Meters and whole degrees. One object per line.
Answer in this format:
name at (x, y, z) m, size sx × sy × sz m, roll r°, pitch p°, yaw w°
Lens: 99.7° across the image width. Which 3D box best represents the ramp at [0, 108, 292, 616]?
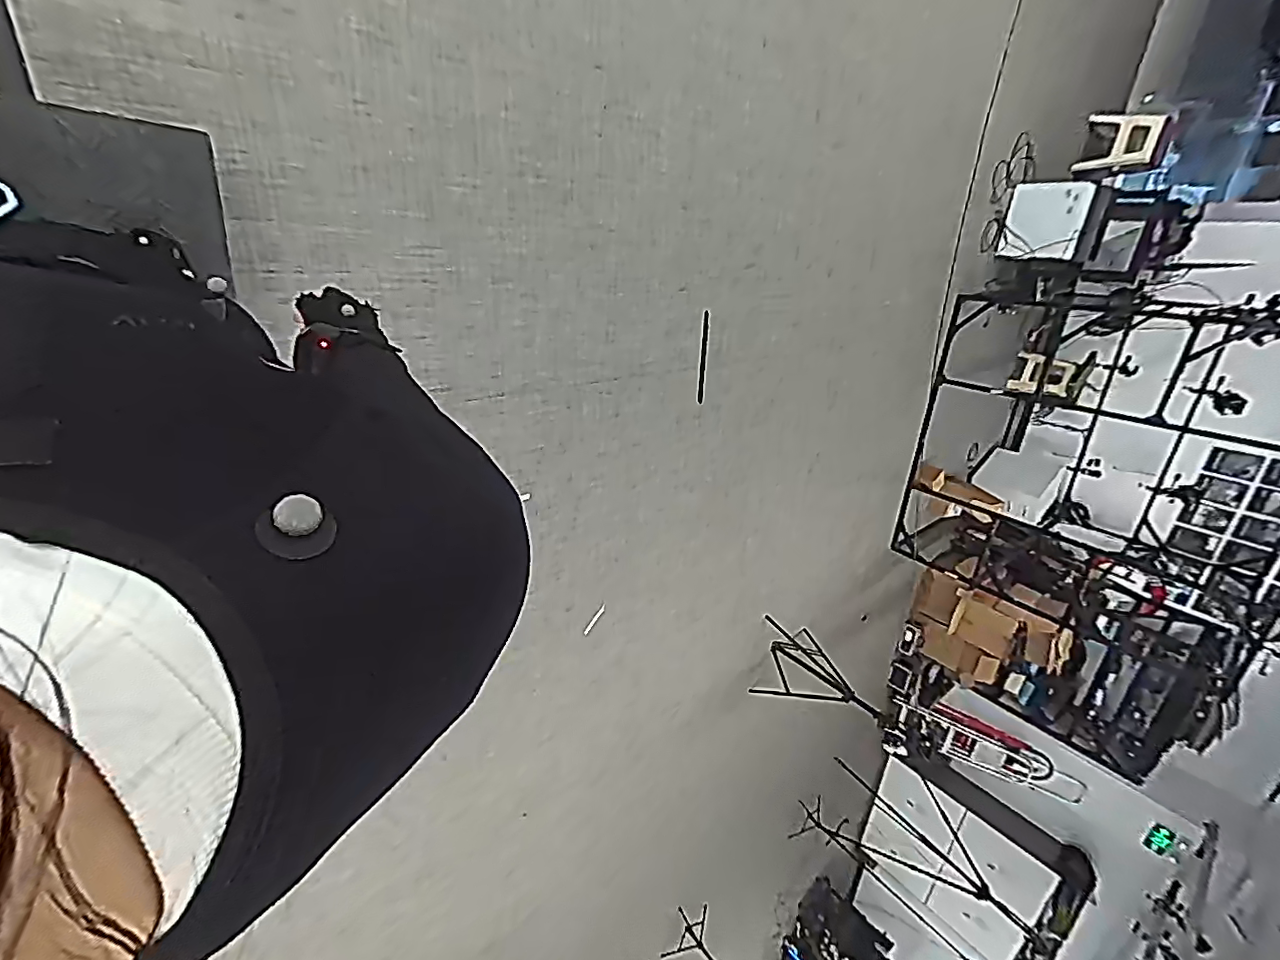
ramp at (-1.068, -0.167, 1.111) m, size 0.509 × 0.206 × 0.991 m, roll -17°, pitch 120°, yaw -38°
